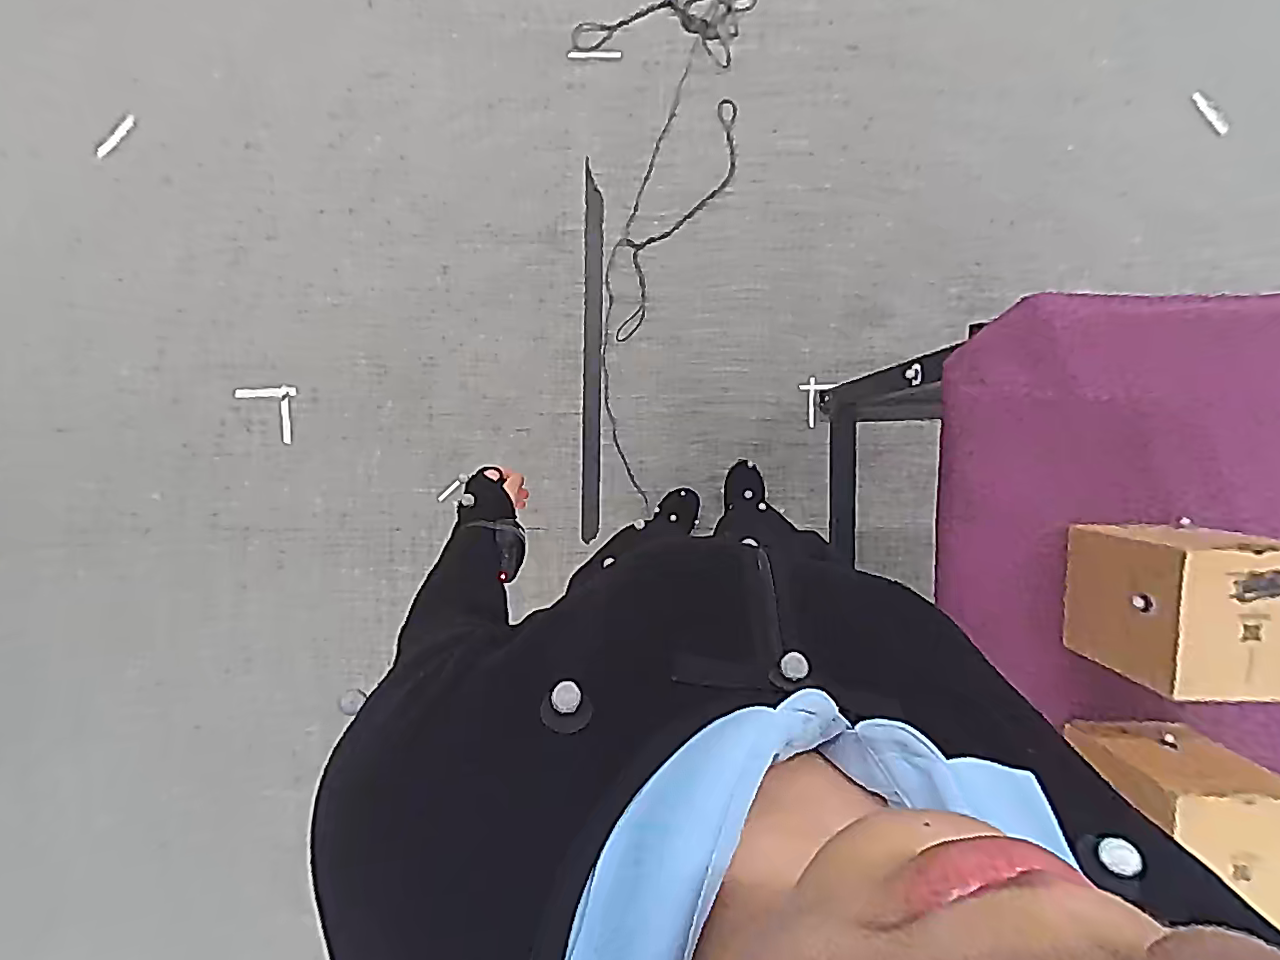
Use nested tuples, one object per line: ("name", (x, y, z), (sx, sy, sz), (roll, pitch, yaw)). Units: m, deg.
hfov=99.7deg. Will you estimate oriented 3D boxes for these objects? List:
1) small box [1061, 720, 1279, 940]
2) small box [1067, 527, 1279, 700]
("small box", (0.691, 0.440, 0.702), (0.168, 0.176, 0.179), (1, 93, 1))
("small box", (0.684, 0.155, 0.682), (0.168, 0.176, 0.179), (0, 94, 2))
